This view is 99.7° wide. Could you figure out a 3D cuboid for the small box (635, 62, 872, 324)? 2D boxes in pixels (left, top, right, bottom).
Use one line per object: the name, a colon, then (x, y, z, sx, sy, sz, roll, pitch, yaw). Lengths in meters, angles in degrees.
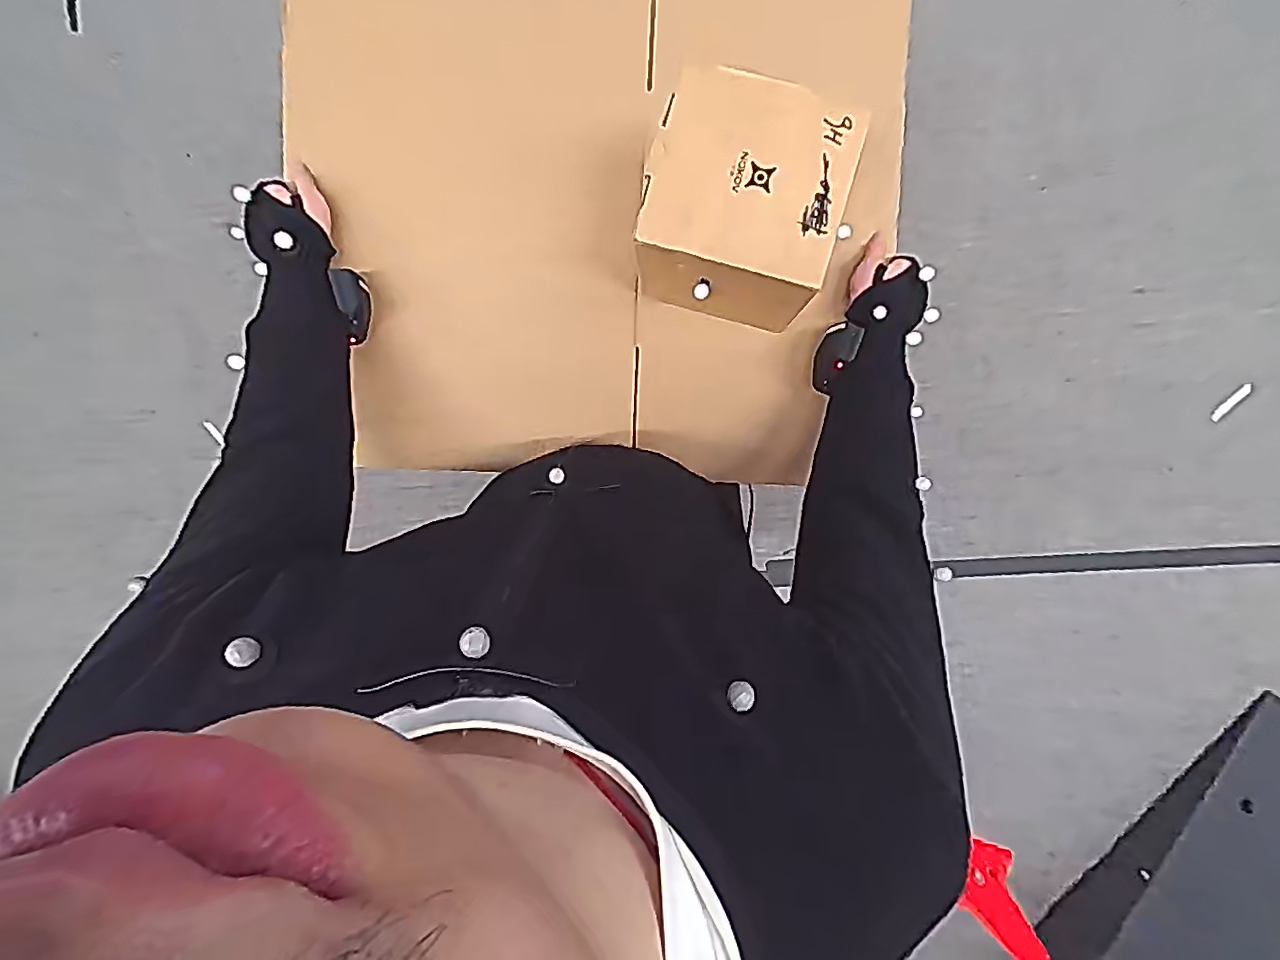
small box: (0.105, -0.277, 0.562, 0.179, 0.176, 0.168, 16, 93, 3)
